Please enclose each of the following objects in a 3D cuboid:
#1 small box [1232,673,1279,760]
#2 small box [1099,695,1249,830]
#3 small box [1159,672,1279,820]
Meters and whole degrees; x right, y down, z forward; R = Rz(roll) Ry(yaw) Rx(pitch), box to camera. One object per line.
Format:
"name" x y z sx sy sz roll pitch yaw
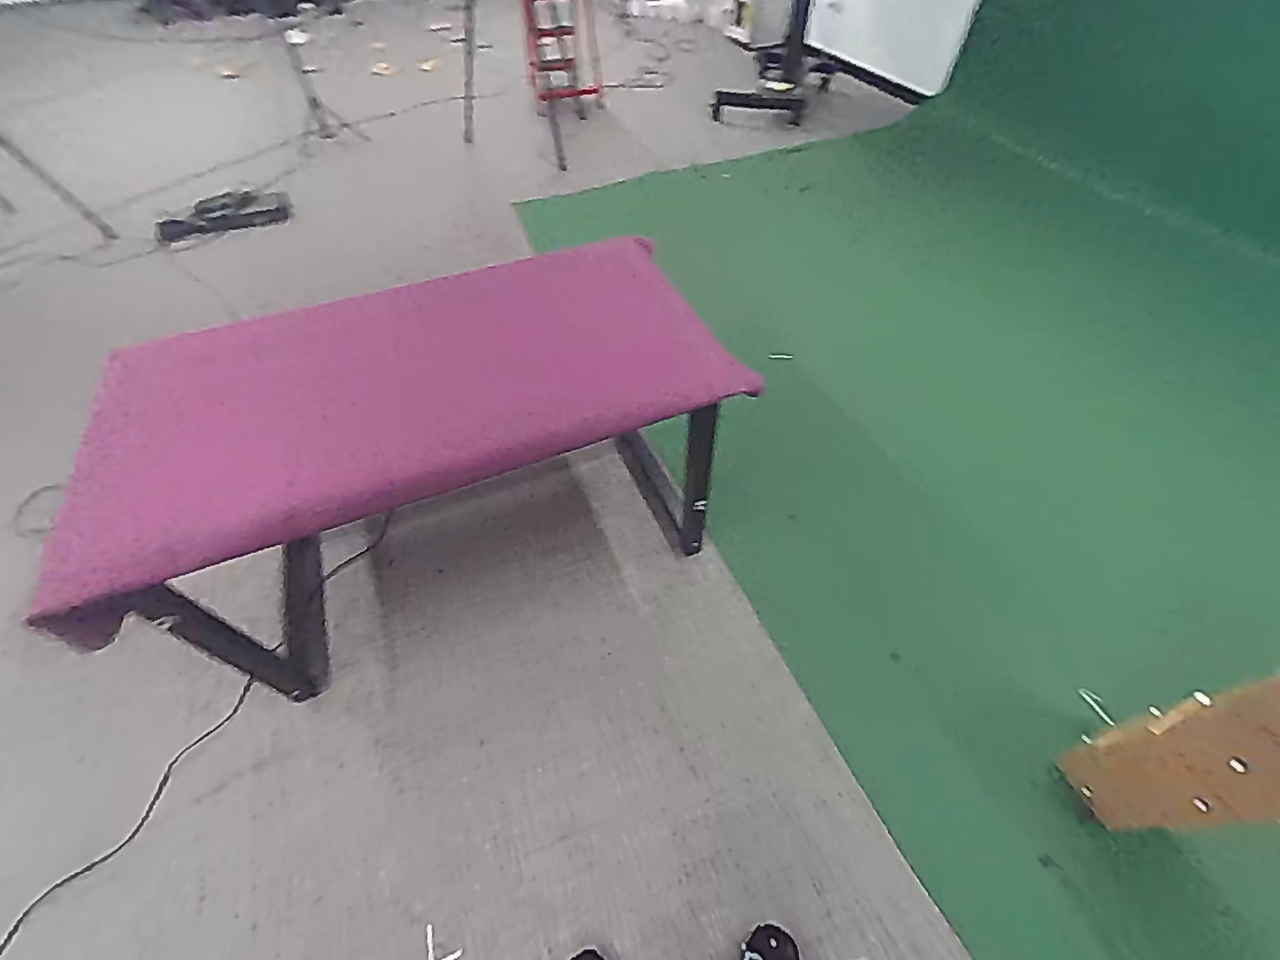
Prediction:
"small box" 1.094 0.363 0.822 0.179 0.176 0.168 -17 54 -11
"small box" 1.090 0.567 1.080 0.168 0.176 0.179 -20 55 -13
"small box" 1.098 0.469 0.948 0.168 0.176 0.179 -21 55 -14
